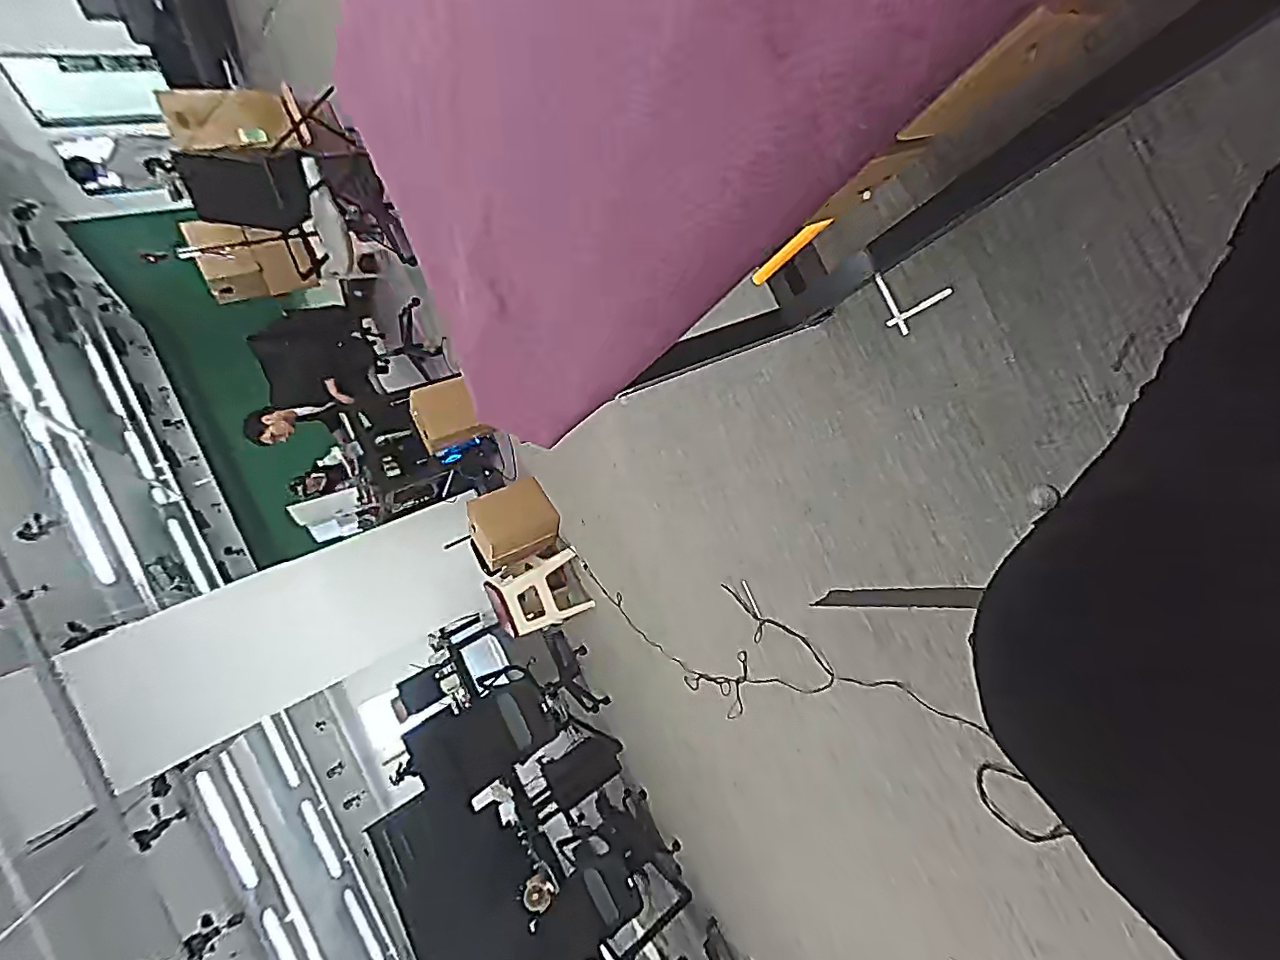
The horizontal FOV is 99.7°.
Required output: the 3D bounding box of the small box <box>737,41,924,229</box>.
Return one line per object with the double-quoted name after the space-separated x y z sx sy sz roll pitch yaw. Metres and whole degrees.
0.290 -0.522 0.827 0.179 0.176 0.168 62 151 -1 "small box"
